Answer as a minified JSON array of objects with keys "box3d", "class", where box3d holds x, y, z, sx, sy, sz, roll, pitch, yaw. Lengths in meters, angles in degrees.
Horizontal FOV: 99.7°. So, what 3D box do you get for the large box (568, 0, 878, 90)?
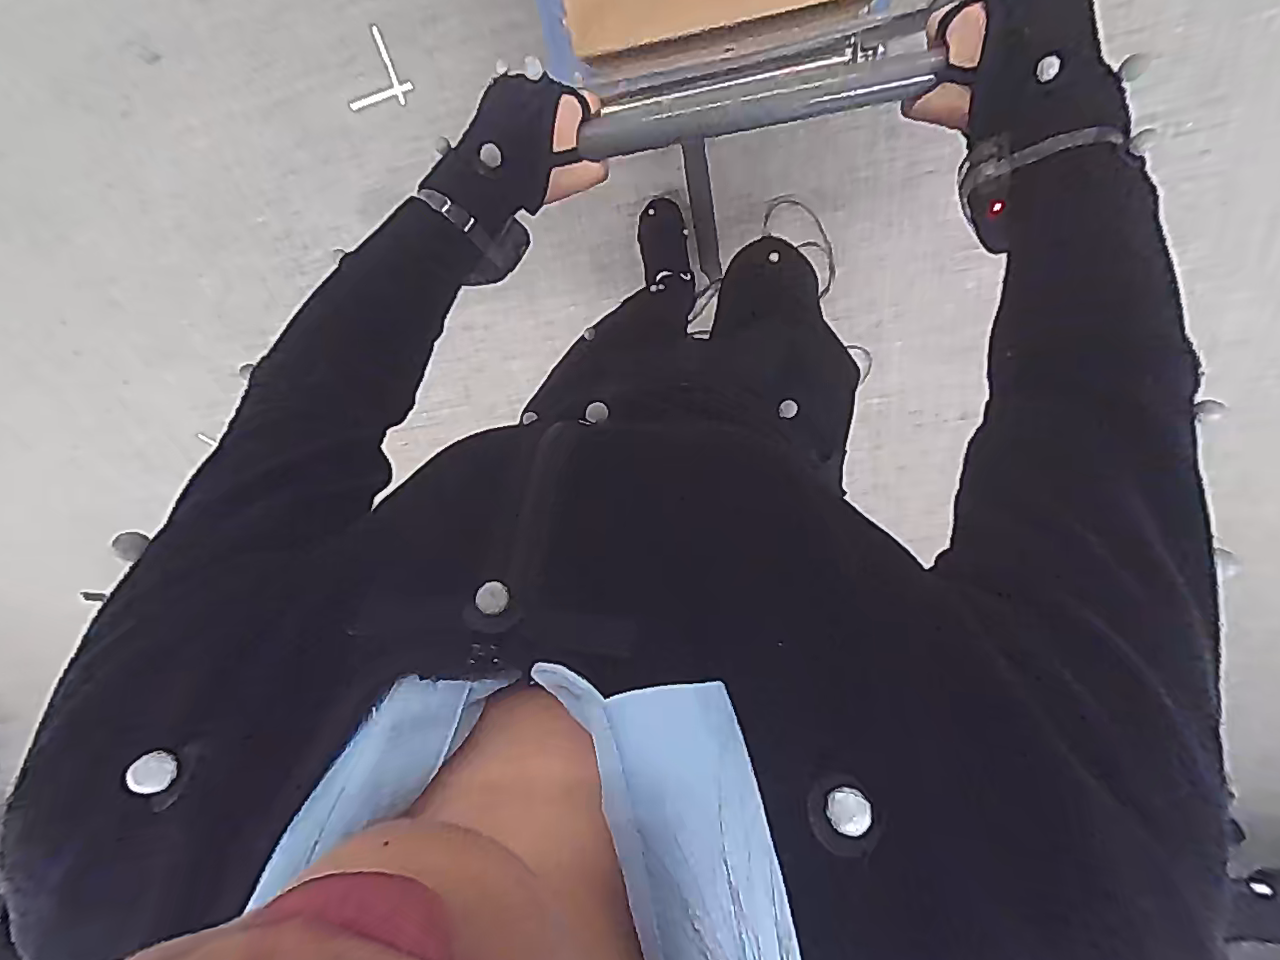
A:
[{"box3d":[0.097,-0.768,0.729,0.408,0.320,0.320,-6,122,9],"class":"large box"}]
